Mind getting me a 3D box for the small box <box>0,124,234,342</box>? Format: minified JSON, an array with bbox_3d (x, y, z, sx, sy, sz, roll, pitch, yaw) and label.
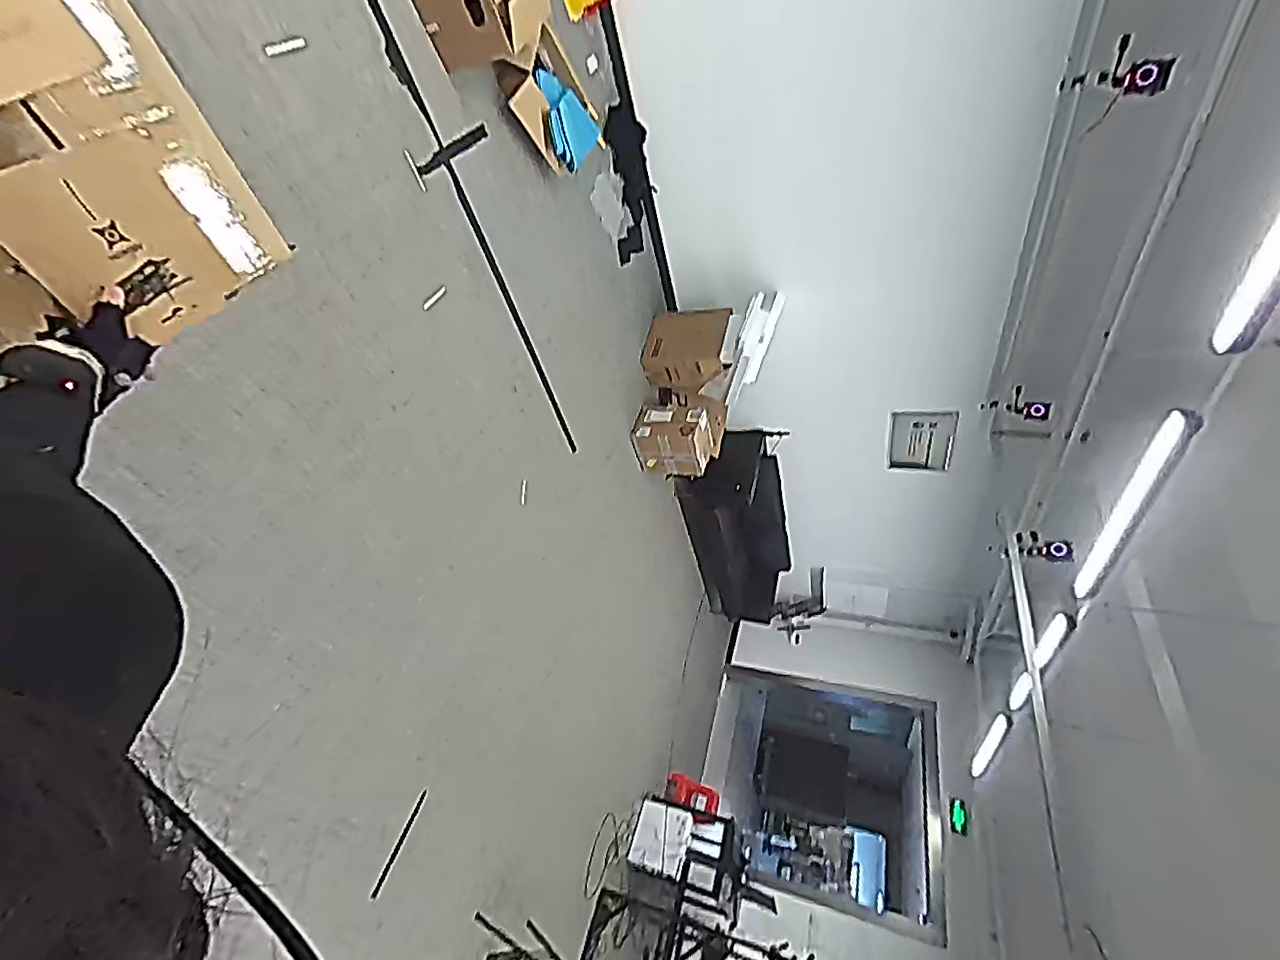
[{"bbox_3d":[-0.639,-0.289,0.634,0.168,0.176,0.179,-48,139,-28],"label":"small box"}]
